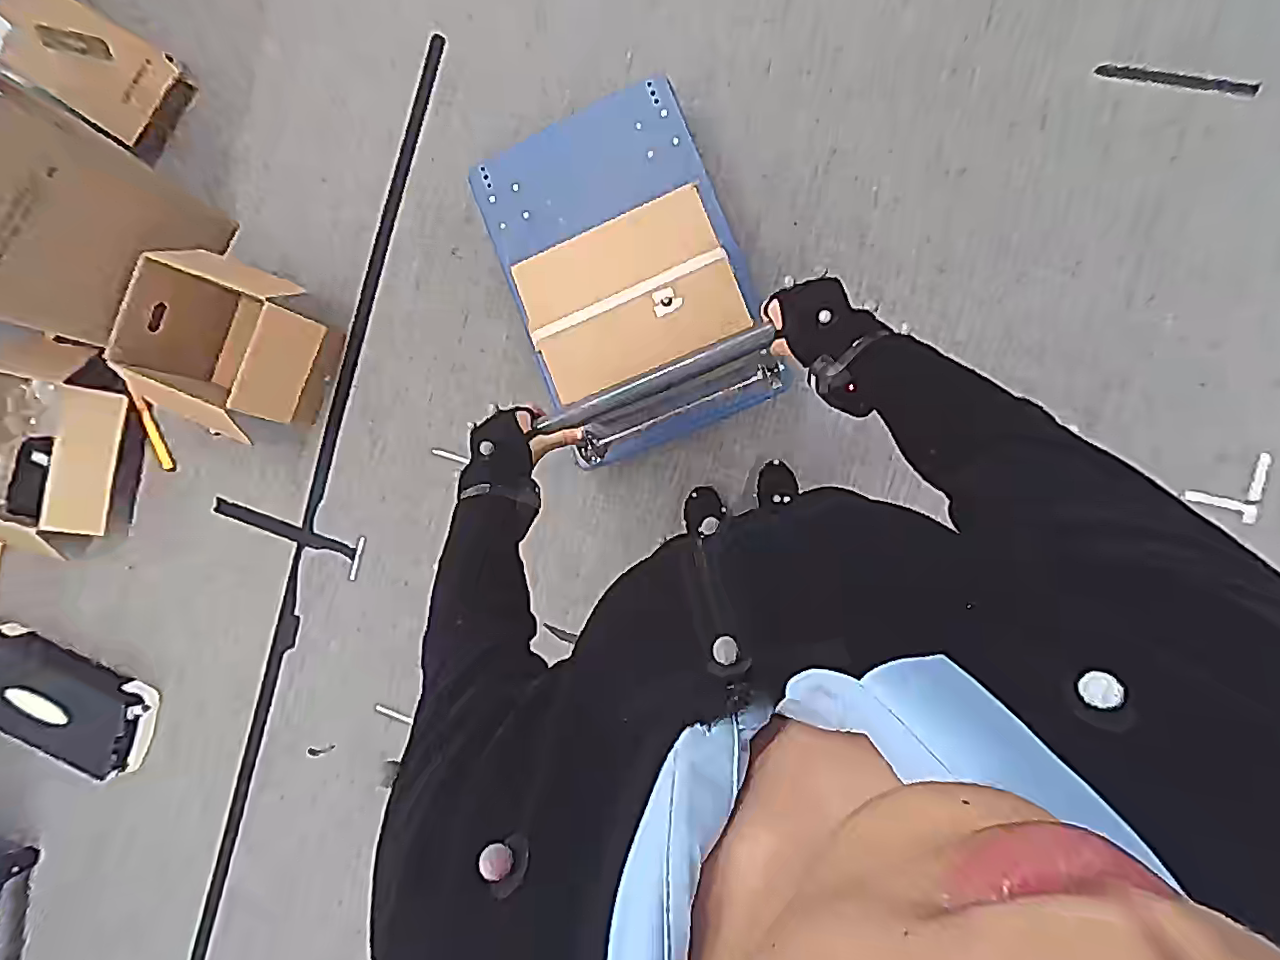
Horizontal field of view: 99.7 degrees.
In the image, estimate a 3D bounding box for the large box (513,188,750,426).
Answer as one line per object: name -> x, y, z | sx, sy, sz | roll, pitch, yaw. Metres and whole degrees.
large box -> -0.005, -0.351, 1.213 | 0.408, 0.320, 0.320 | -22, 87, 7
